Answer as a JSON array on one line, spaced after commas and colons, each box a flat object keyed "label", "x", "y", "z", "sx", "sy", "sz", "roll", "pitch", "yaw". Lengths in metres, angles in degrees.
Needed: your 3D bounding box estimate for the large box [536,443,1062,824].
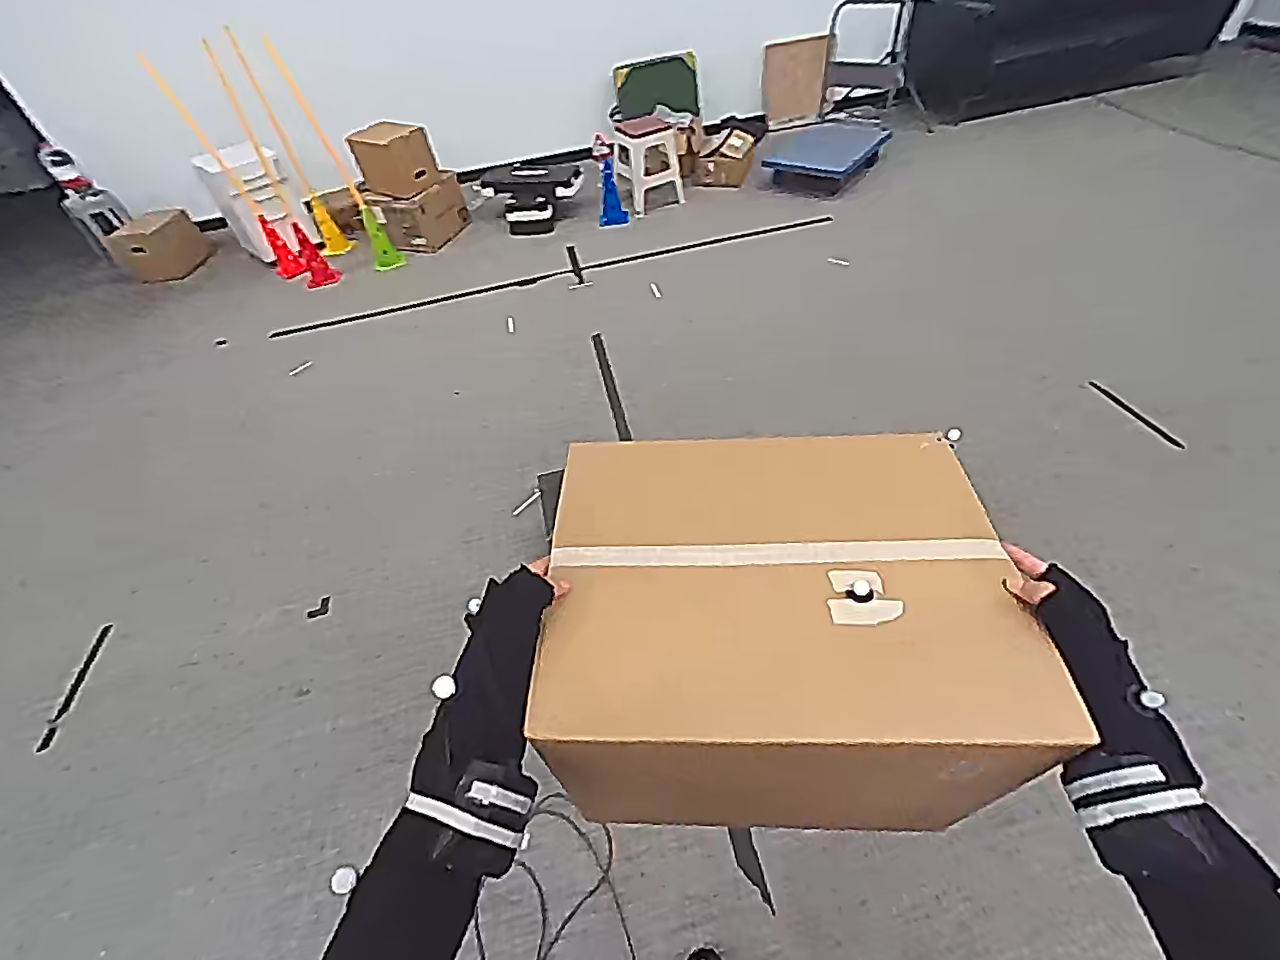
[{"label": "large box", "x": 0.125, "y": 0.179, "z": 0.615, "sx": 0.408, "sy": 0.320, "sz": 0.320, "roll": -2, "pitch": 48, "yaw": 3}]
